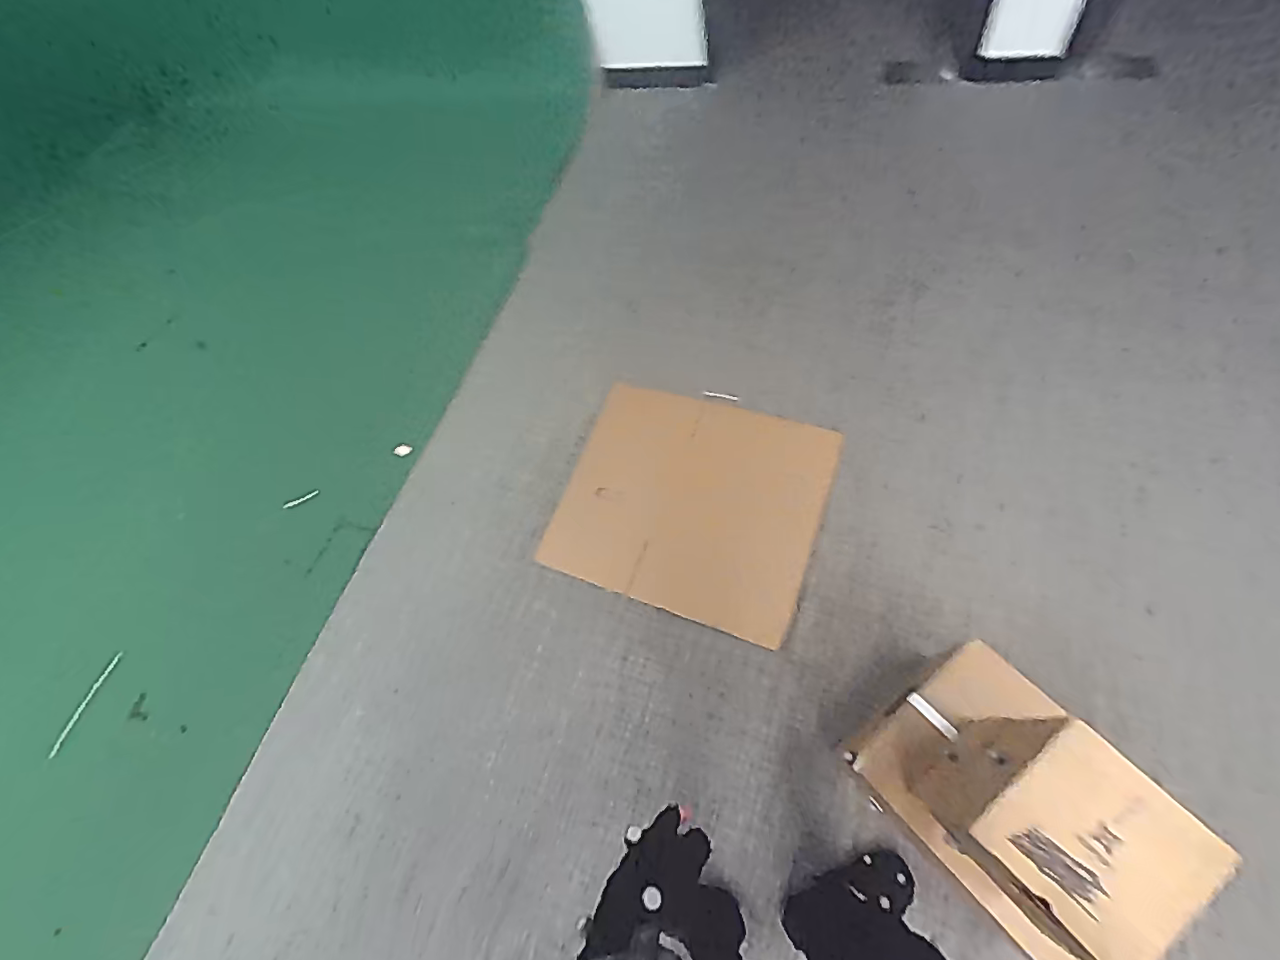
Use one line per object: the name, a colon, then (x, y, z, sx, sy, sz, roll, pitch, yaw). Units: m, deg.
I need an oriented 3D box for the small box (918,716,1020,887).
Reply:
small box: (0.528, 0.464, 0.760, 0.168, 0.176, 0.179, -45, 64, -10)

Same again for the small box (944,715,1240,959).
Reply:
small box: (0.480, 0.397, 0.614, 0.179, 0.176, 0.168, -40, 63, -7)
